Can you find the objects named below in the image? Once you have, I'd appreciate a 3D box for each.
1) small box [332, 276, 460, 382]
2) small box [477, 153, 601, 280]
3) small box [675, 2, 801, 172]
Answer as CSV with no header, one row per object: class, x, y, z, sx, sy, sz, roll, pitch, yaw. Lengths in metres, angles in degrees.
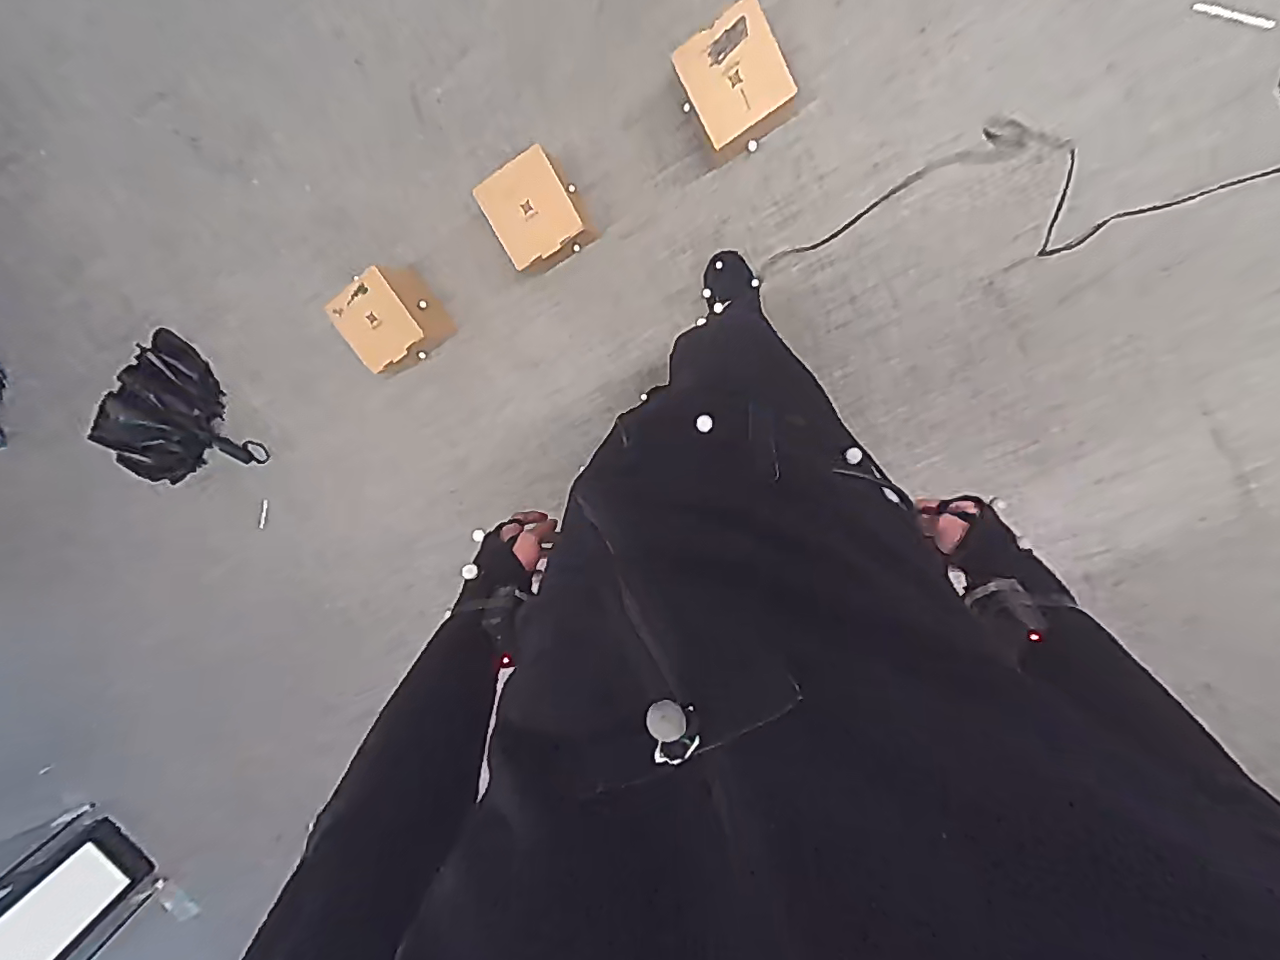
small box,-0.555,-0.355,1.260,0.168,0.176,0.179,-31,102,16
small box,-0.203,-0.545,1.146,0.168,0.176,0.179,-28,101,15
small box,0.181,-0.725,1.025,0.168,0.176,0.179,-28,103,17
